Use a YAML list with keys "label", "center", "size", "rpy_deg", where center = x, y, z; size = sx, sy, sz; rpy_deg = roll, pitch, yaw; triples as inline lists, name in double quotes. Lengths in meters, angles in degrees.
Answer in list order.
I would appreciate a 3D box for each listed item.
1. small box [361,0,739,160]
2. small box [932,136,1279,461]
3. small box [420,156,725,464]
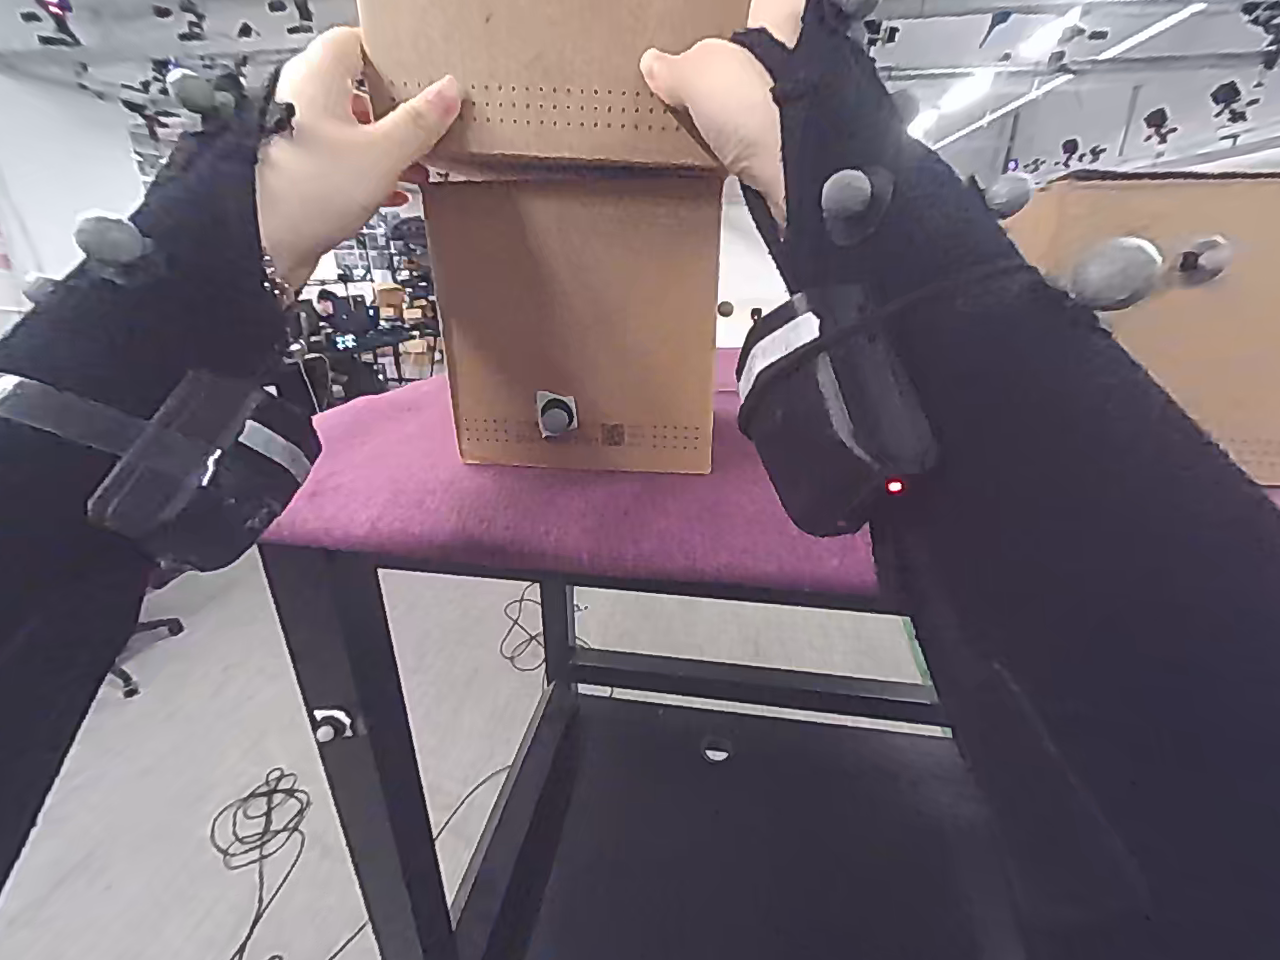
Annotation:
- label: "small box"
  center: [-0.036, -0.267, 0.296]
  size: [0.179, 0.176, 0.168]
  rpy_deg: [4, 23, 3]
- label: "small box"
  center: [0.320, -0.117, 0.369]
  size: [0.179, 0.176, 0.168]
  rpy_deg: [4, 21, 9]
- label: "small box"
  center: [-0.029, -0.120, 0.386]
  size: [0.168, 0.176, 0.179]
  rpy_deg: [1, 23, 5]
